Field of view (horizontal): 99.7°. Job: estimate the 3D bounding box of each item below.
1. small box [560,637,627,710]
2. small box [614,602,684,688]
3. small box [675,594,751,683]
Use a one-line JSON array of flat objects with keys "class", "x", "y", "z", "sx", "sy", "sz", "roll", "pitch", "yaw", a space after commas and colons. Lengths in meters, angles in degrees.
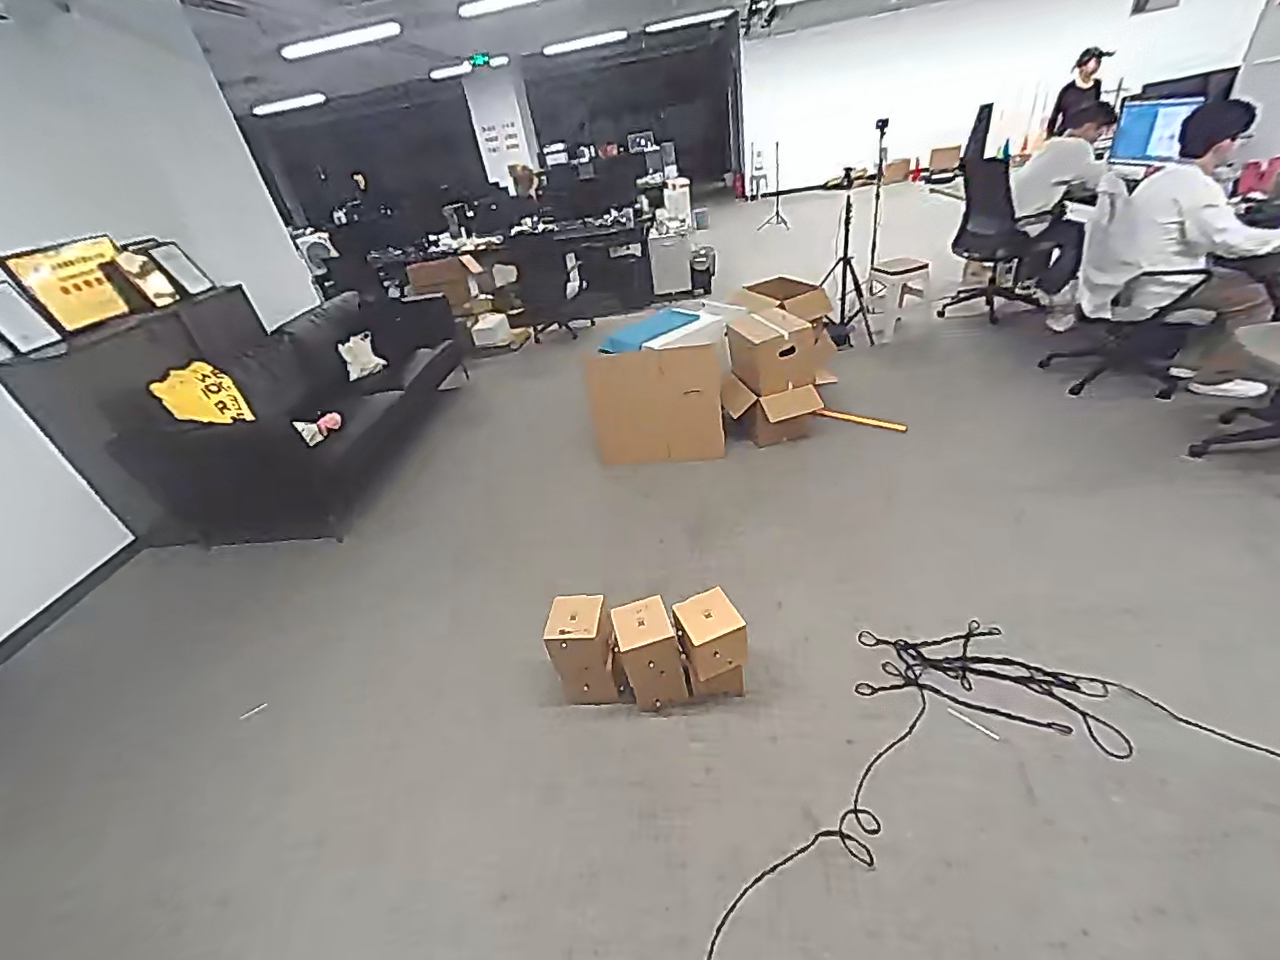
[{"class": "small box", "x": -0.146, "y": 0.644, "z": 1.798, "sx": 0.179, "sy": 0.176, "sz": 0.168, "roll": -6, "pitch": 32, "yaw": 10}, {"class": "small box", "x": 0.028, "y": 0.509, "z": 1.650, "sx": 0.168, "sy": 0.176, "sz": 0.179, "roll": -15, "pitch": 32, "yaw": -6}, {"class": "small box", "x": 0.222, "y": 0.482, "z": 1.627, "sx": 0.168, "sy": 0.176, "sz": 0.179, "roll": -19, "pitch": 32, "yaw": -12}]
